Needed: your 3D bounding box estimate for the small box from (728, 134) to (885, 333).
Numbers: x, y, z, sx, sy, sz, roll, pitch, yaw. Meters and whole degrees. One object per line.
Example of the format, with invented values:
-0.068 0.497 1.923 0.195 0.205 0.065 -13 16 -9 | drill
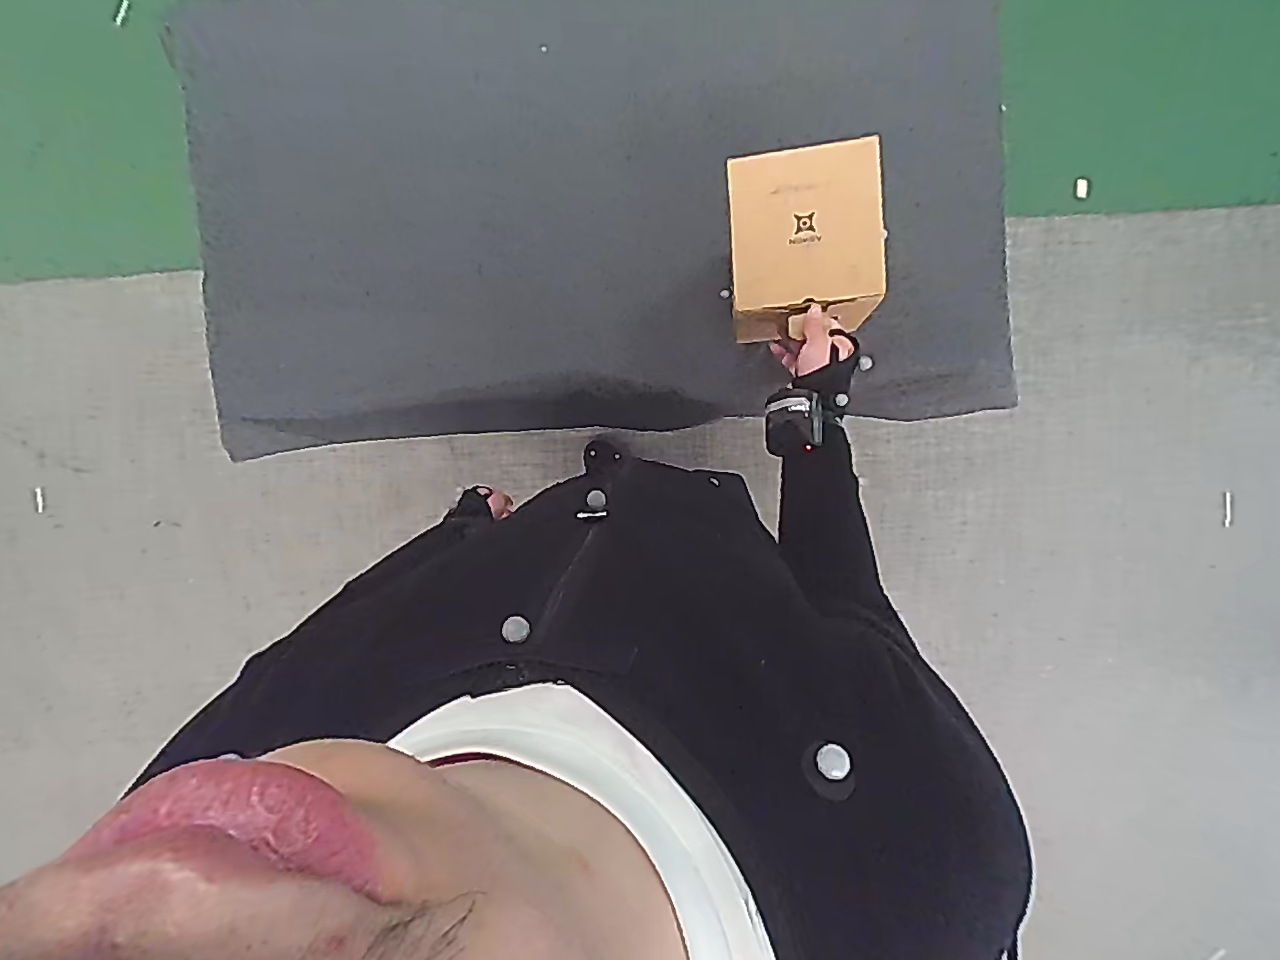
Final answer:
0.197 -0.289 0.679 0.168 0.176 0.179 -3 91 8 | small box
